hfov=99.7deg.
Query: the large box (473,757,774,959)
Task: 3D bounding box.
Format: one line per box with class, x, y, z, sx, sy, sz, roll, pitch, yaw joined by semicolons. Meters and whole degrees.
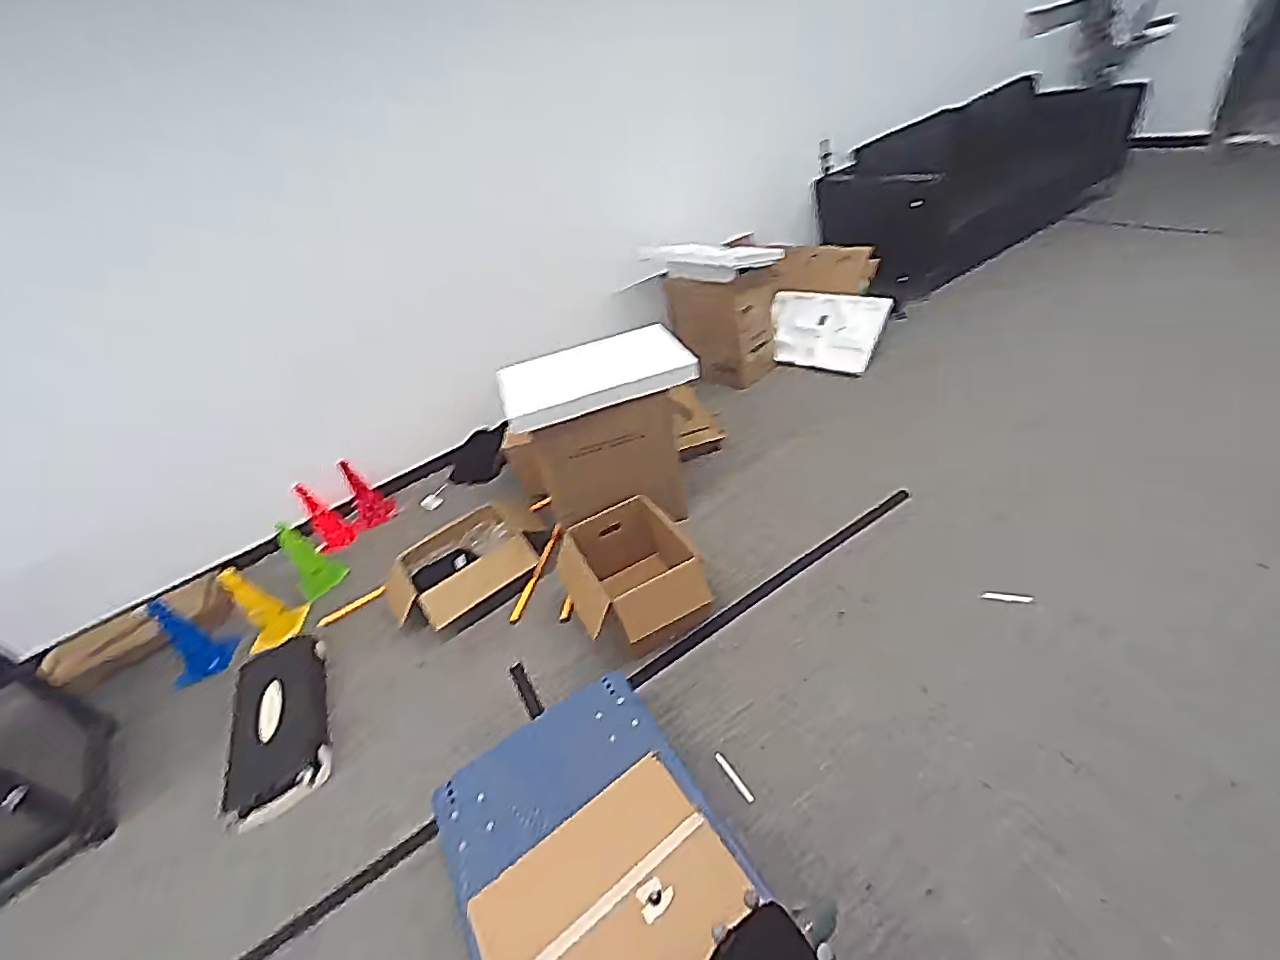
large box;-0.016;0.818;0.972;0.408;0.320;0.320;-31;38;-21
